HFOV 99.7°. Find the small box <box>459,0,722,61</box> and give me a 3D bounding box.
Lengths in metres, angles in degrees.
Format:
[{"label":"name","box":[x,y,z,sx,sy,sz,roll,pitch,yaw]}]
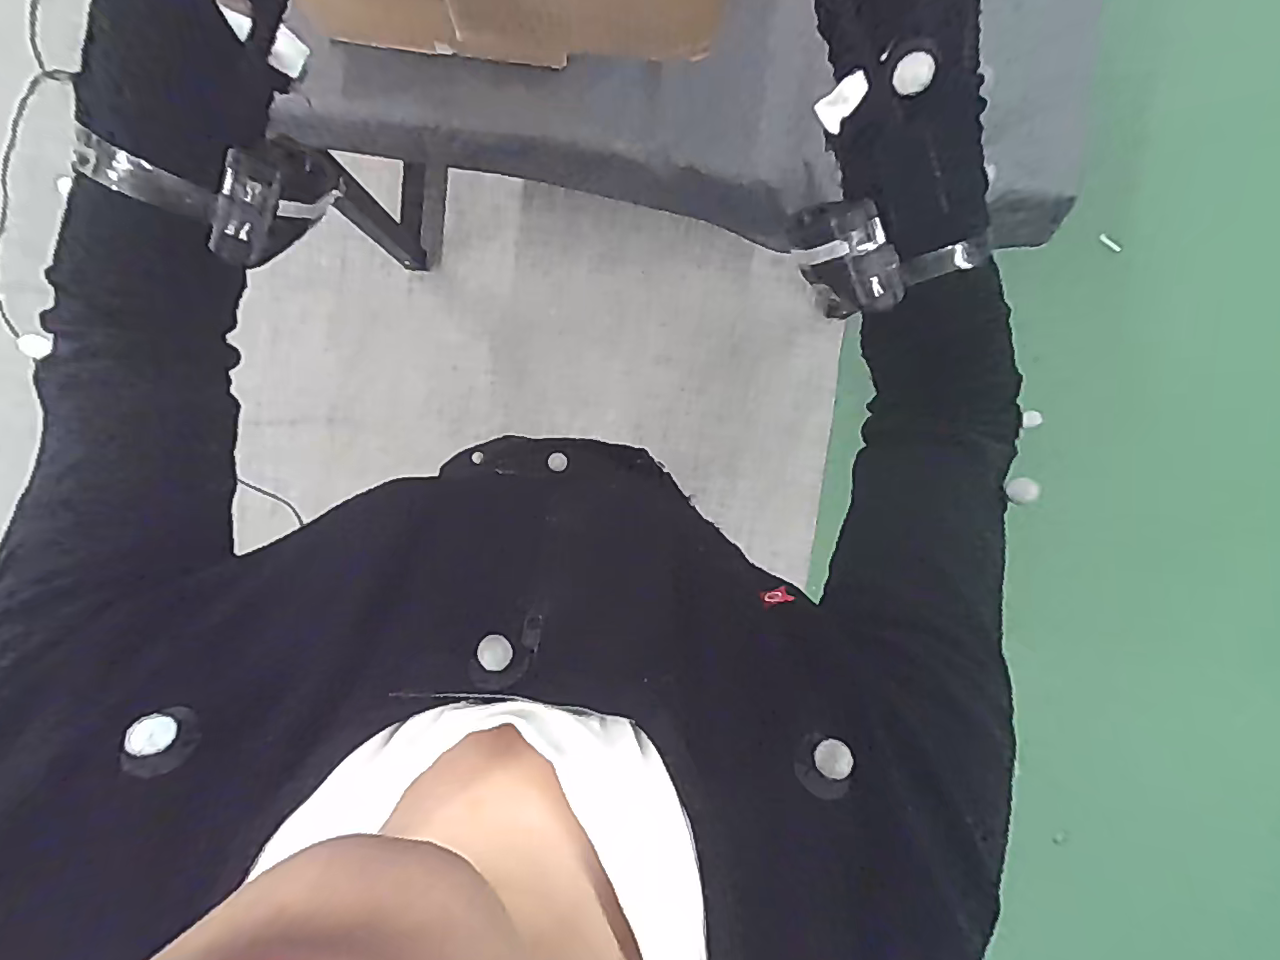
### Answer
[{"label":"small box","box":[-0.026,-0.374,0.296,0.179,0.176,0.168,2,95,-6]}]
